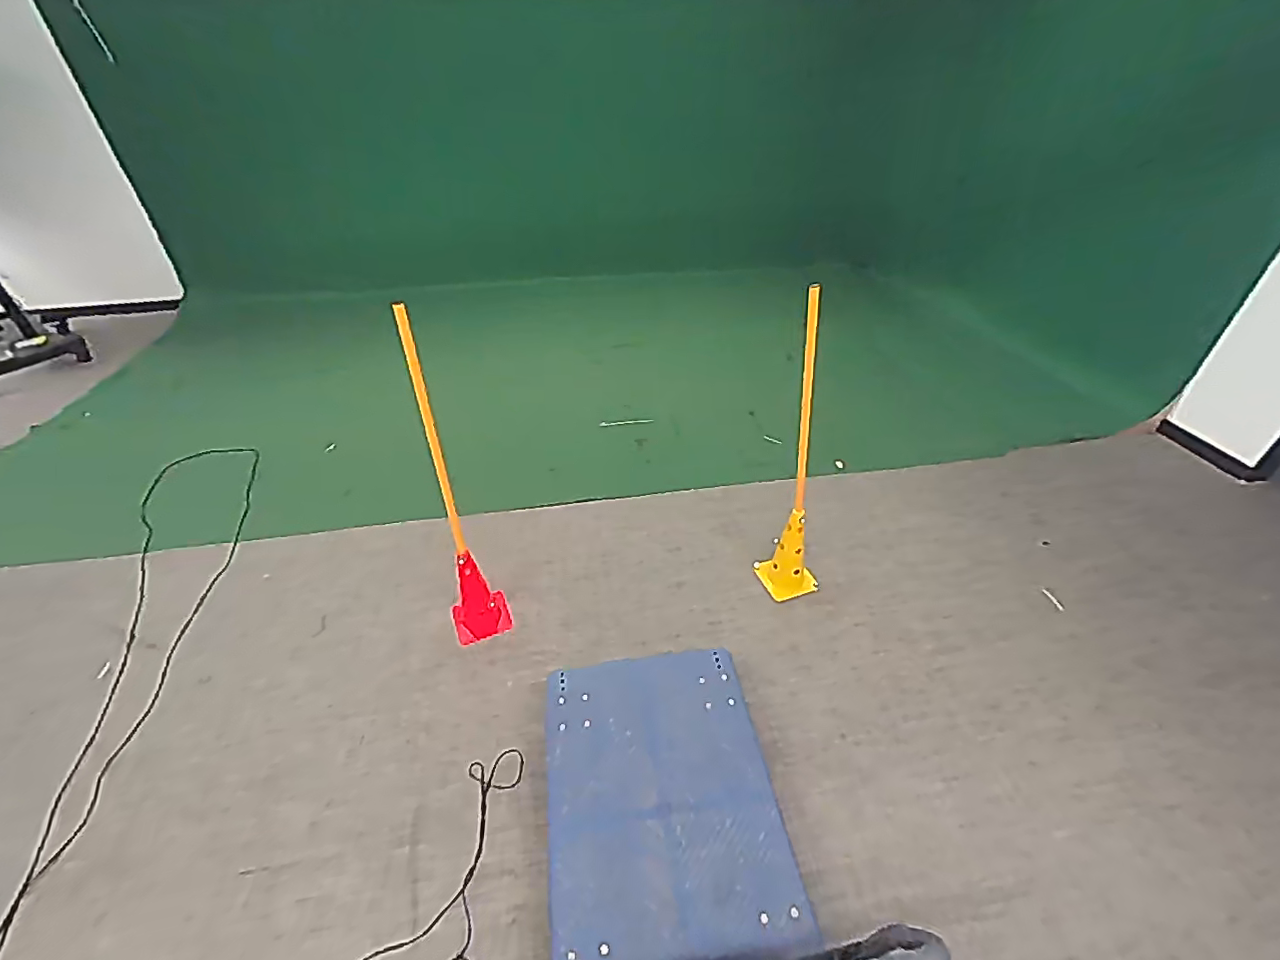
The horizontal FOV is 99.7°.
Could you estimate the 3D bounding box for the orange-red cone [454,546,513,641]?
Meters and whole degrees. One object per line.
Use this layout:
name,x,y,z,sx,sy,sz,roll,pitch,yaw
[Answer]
orange-red cone,-0.593,0.371,1.916,0.199,0.360,0.198,-17,41,-17
